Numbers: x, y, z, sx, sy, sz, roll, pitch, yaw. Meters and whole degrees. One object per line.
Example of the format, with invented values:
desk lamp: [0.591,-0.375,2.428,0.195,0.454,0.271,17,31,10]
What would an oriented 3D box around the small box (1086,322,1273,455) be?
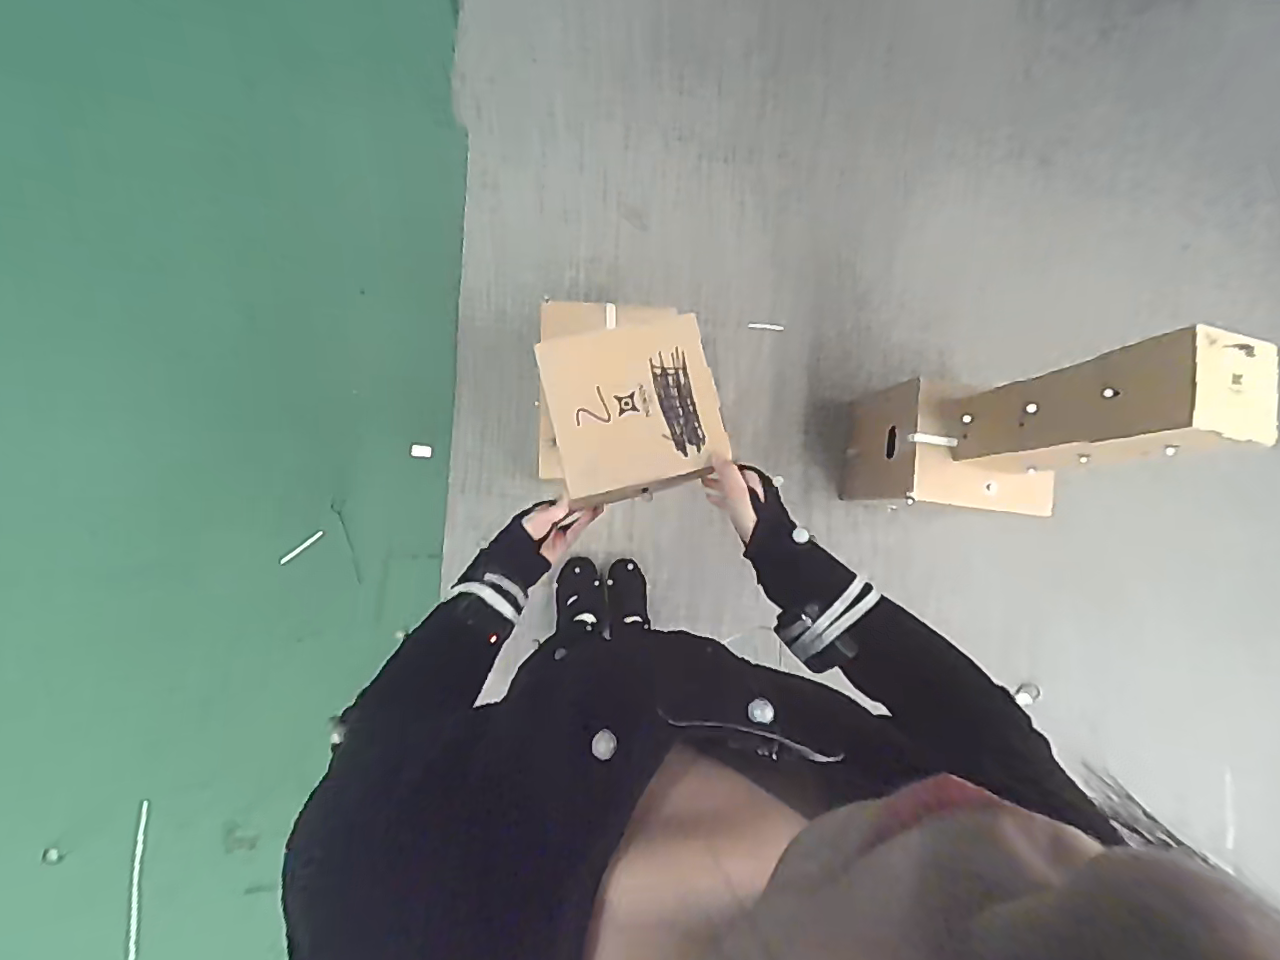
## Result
small box: [0.934,-0.149,0.949,0.168,0.176,0.179,11,84,-9]

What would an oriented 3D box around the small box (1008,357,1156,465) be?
small box: [0.908,-0.131,1.110,0.179,0.176,0.168,12,83,-8]

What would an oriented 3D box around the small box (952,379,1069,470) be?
small box: [0.878,-0.122,1.272,0.179,0.176,0.168,11,83,-9]

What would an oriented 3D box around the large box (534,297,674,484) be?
large box: [-0.099,-0.198,1.359,0.320,0.320,0.408,1,86,-10]
